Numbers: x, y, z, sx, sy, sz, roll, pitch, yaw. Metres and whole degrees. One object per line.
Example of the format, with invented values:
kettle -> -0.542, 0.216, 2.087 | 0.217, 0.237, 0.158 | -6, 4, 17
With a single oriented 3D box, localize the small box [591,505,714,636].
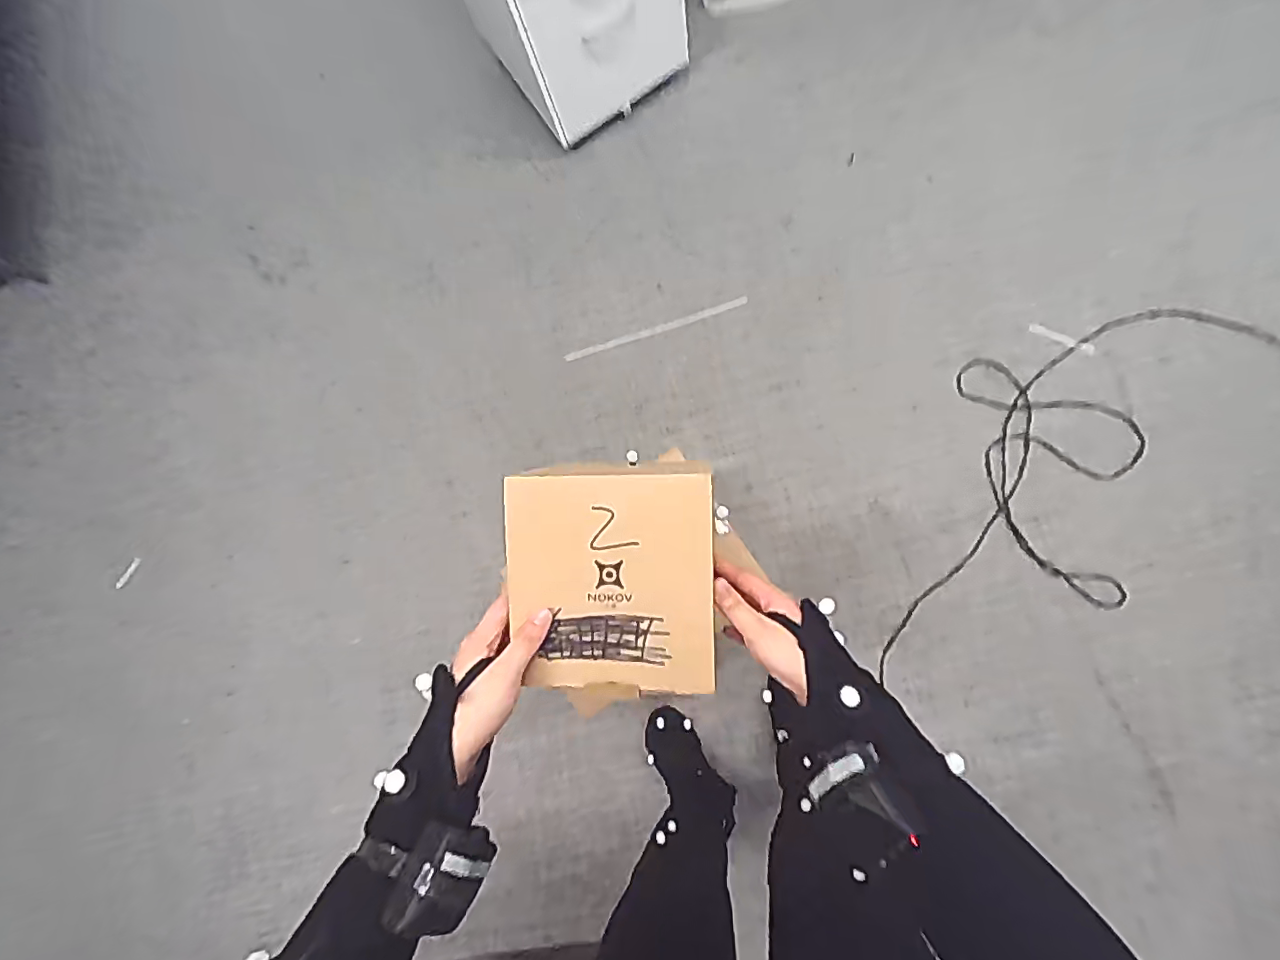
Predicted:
small box -> 0.029, 0.141, 0.875 | 0.168, 0.176, 0.179 | 6, 83, 9
